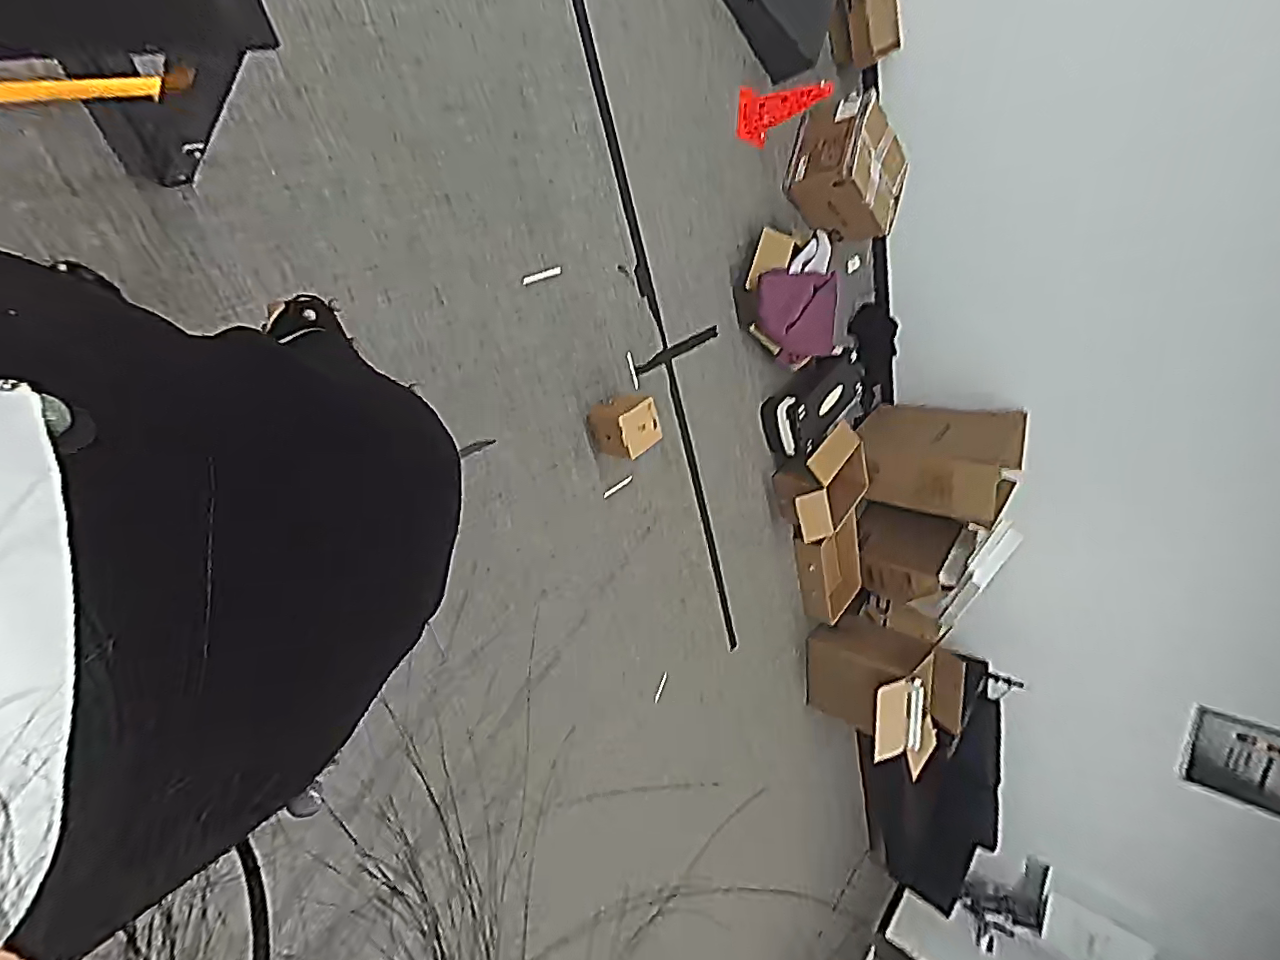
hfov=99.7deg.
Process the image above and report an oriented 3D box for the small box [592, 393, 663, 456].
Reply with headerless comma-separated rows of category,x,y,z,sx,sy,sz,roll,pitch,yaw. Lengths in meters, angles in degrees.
small box,-0.051,-0.202,1.940,0.179,0.176,0.168,-37,123,-32
